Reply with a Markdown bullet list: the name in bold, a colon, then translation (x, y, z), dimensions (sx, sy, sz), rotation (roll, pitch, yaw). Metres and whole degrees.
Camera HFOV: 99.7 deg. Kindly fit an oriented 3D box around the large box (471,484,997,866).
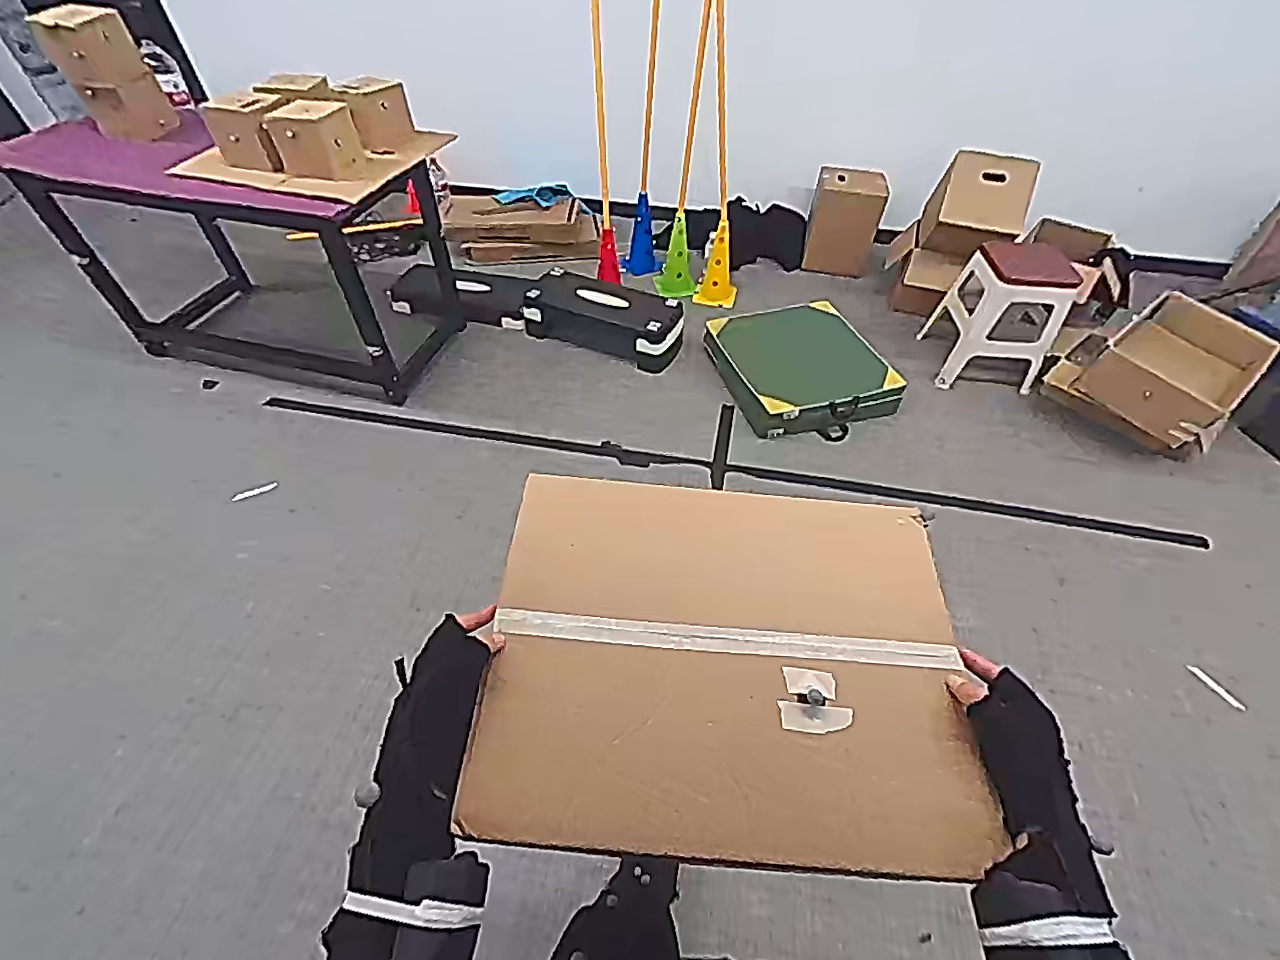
- **large box**: translation (0.068, 0.228, 0.604), dimensions (0.408, 0.320, 0.320), rotation (6, 56, -1)
